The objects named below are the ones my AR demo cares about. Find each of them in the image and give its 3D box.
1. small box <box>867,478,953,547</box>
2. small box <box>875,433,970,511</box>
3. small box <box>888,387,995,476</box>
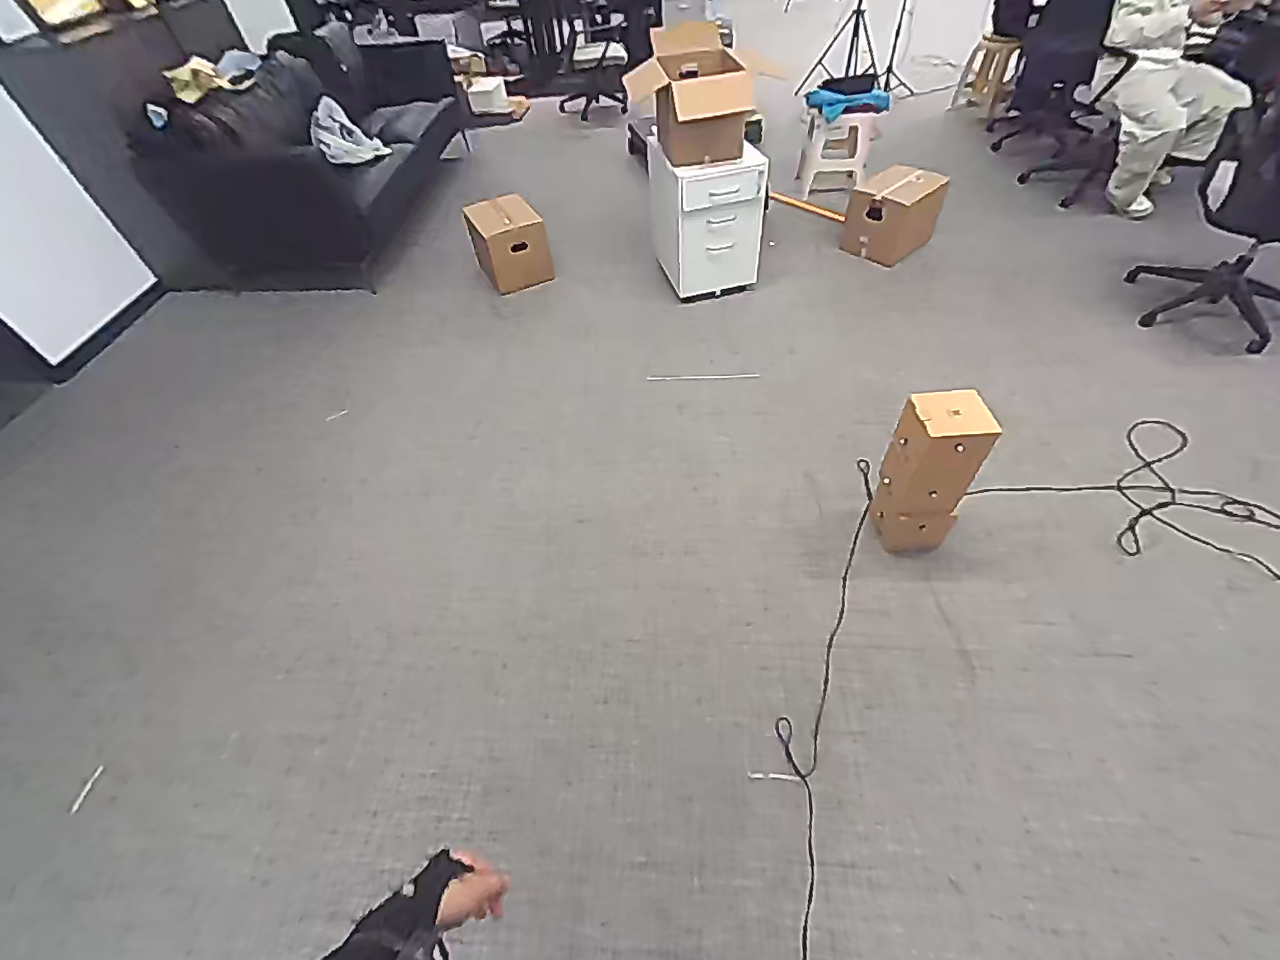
[{"bbox_3d":[0.827,0.095,1.683,0.179,0.176,0.168,-6,49,0],"label":"small box"},{"bbox_3d":[0.811,-0.025,1.572,0.179,0.176,0.168,-4,48,3],"label":"small box"},{"bbox_3d":[0.795,-0.127,1.446,0.179,0.176,0.168,-5,49,3],"label":"small box"}]
